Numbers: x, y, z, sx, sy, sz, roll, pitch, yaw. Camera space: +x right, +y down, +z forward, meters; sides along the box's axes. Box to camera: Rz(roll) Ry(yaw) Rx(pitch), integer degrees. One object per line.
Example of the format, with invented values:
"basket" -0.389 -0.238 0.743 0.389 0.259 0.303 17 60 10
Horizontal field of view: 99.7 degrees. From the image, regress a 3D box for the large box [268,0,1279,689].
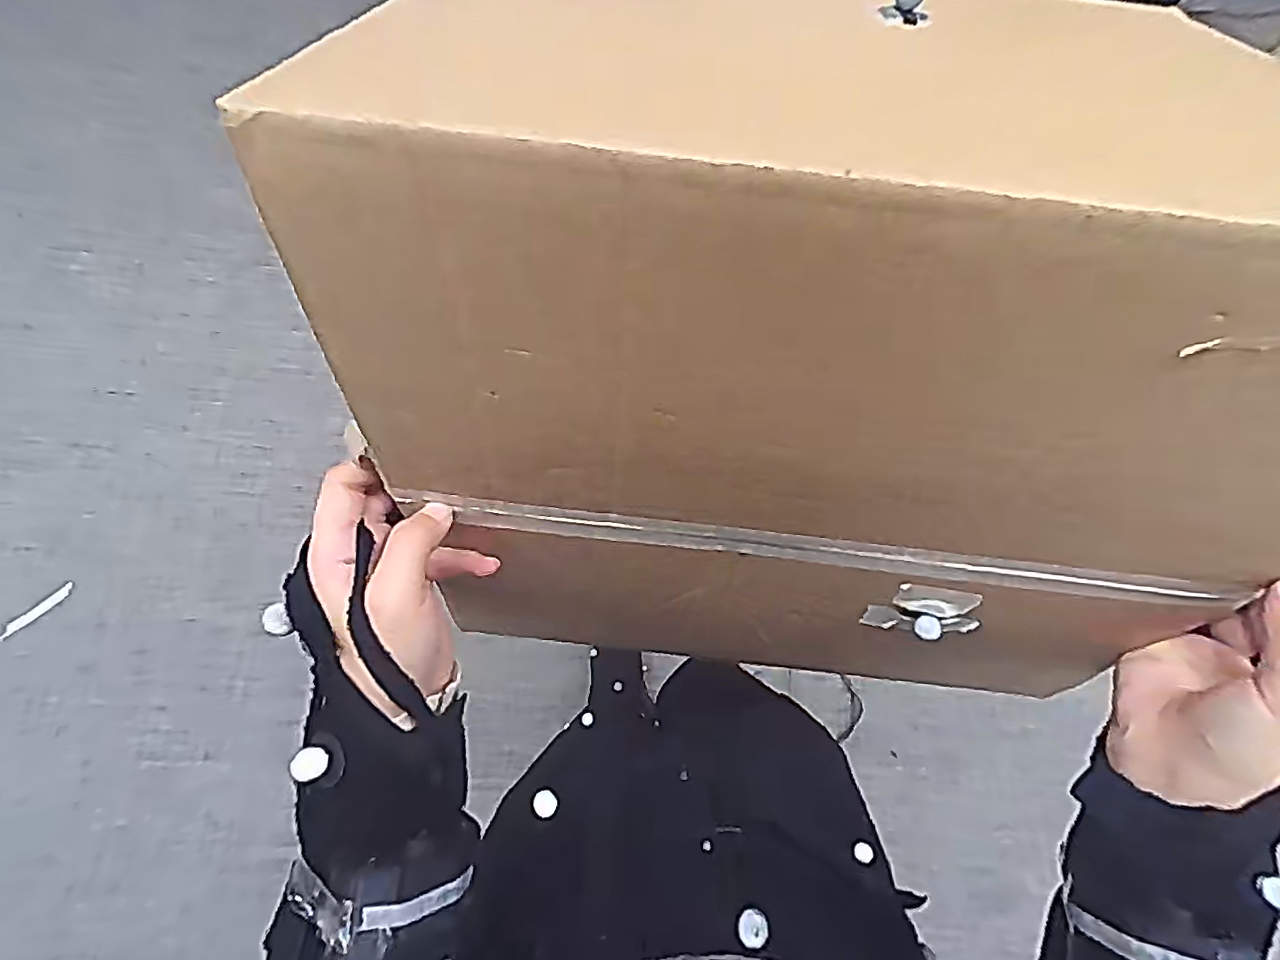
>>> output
"large box" 0.093 -0.084 0.355 0.408 0.320 0.320 6 52 0
